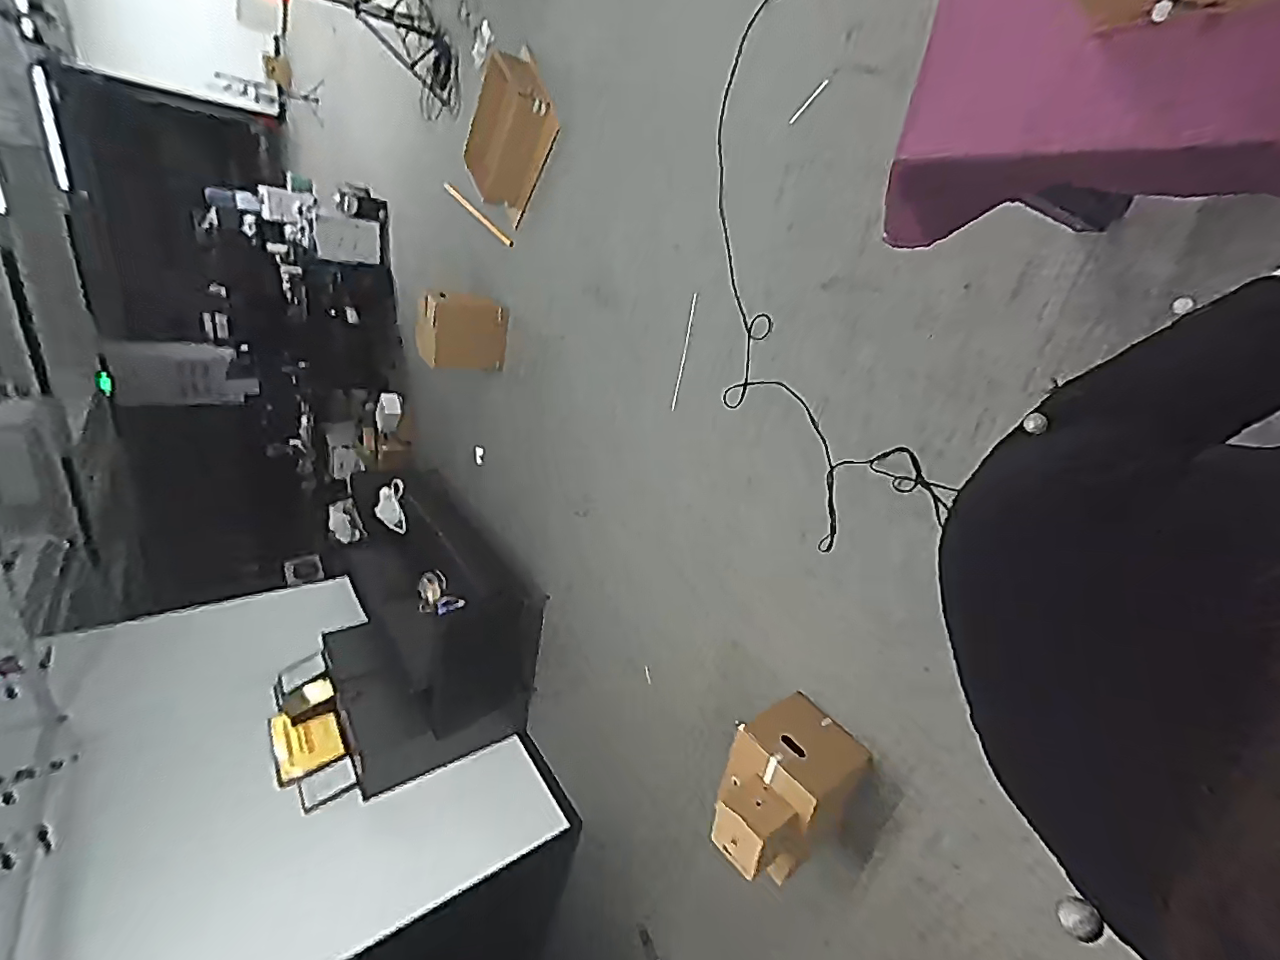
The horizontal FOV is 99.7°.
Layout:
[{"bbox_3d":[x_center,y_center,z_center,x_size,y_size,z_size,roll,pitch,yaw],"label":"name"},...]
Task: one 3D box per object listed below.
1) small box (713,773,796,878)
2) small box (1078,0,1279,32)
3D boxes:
[{"bbox_3d":[0.353,1.043,1.650,0.168,0.176,0.179,29,119,44],"label":"small box"},{"bbox_3d":[0.496,-0.530,0.461,0.168,0.176,0.179,34,123,44],"label":"small box"}]
